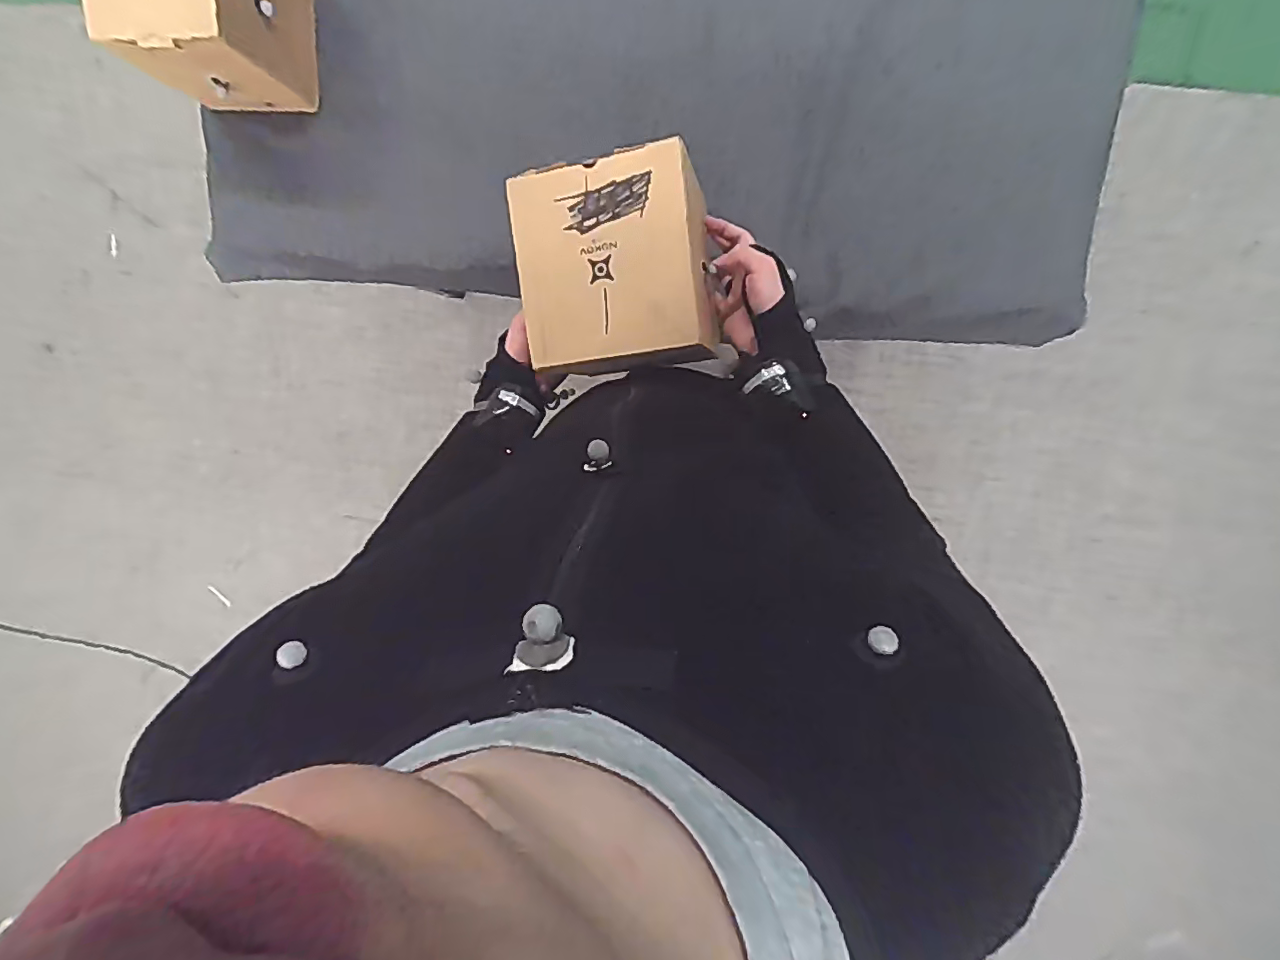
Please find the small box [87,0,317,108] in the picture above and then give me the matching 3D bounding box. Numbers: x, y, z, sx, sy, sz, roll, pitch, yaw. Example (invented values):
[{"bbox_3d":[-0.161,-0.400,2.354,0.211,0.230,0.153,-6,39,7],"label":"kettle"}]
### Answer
[{"bbox_3d":[-0.533,-0.594,0.673,0.168,0.176,0.179,4,102,4],"label":"small box"}]
